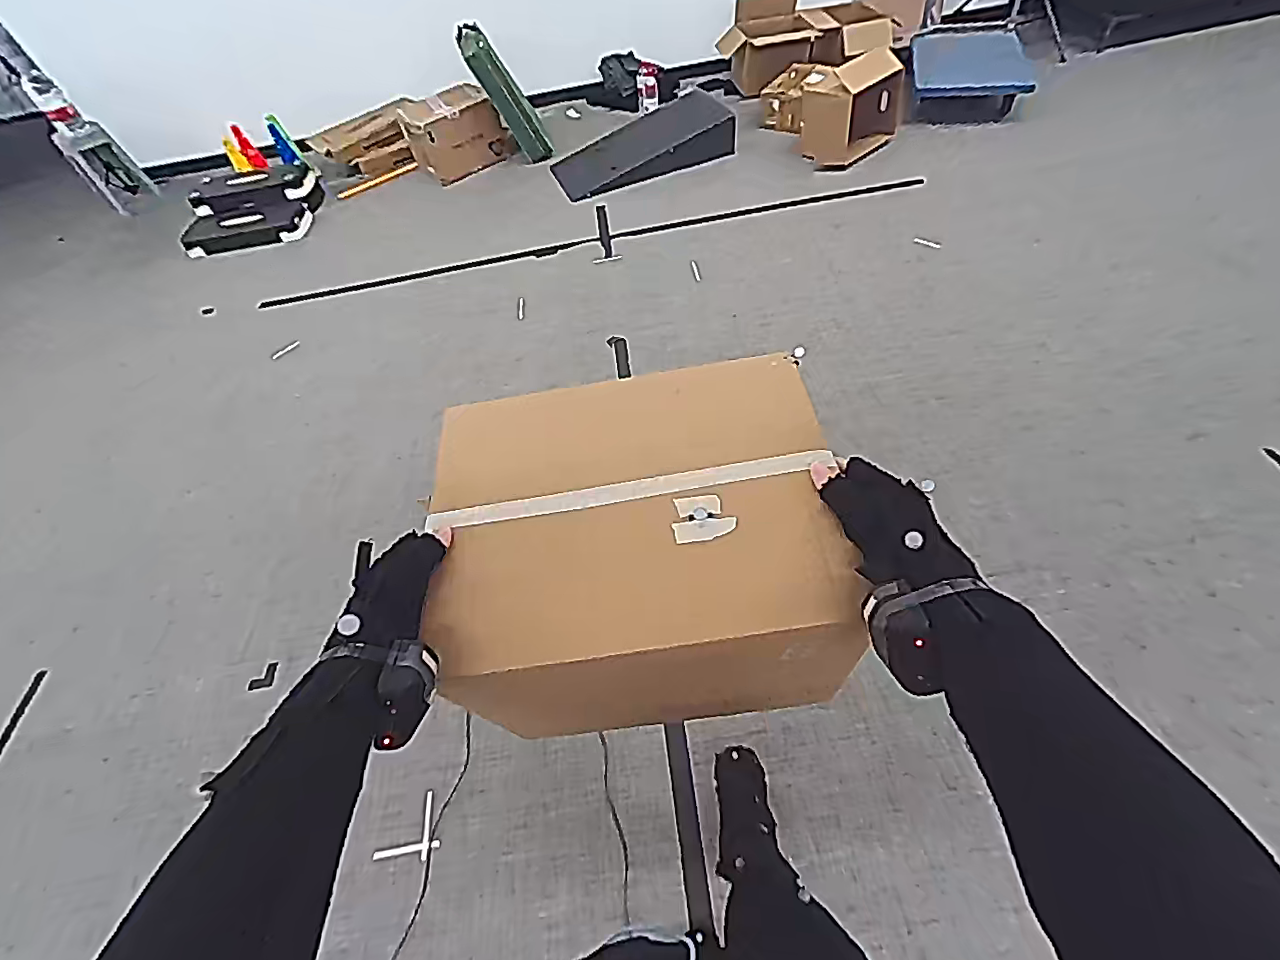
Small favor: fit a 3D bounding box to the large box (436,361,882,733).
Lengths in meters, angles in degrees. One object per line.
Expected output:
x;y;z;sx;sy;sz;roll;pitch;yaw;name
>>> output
0.014;0.098;0.674;0.408;0.320;0.320;-9;55;2;large box
